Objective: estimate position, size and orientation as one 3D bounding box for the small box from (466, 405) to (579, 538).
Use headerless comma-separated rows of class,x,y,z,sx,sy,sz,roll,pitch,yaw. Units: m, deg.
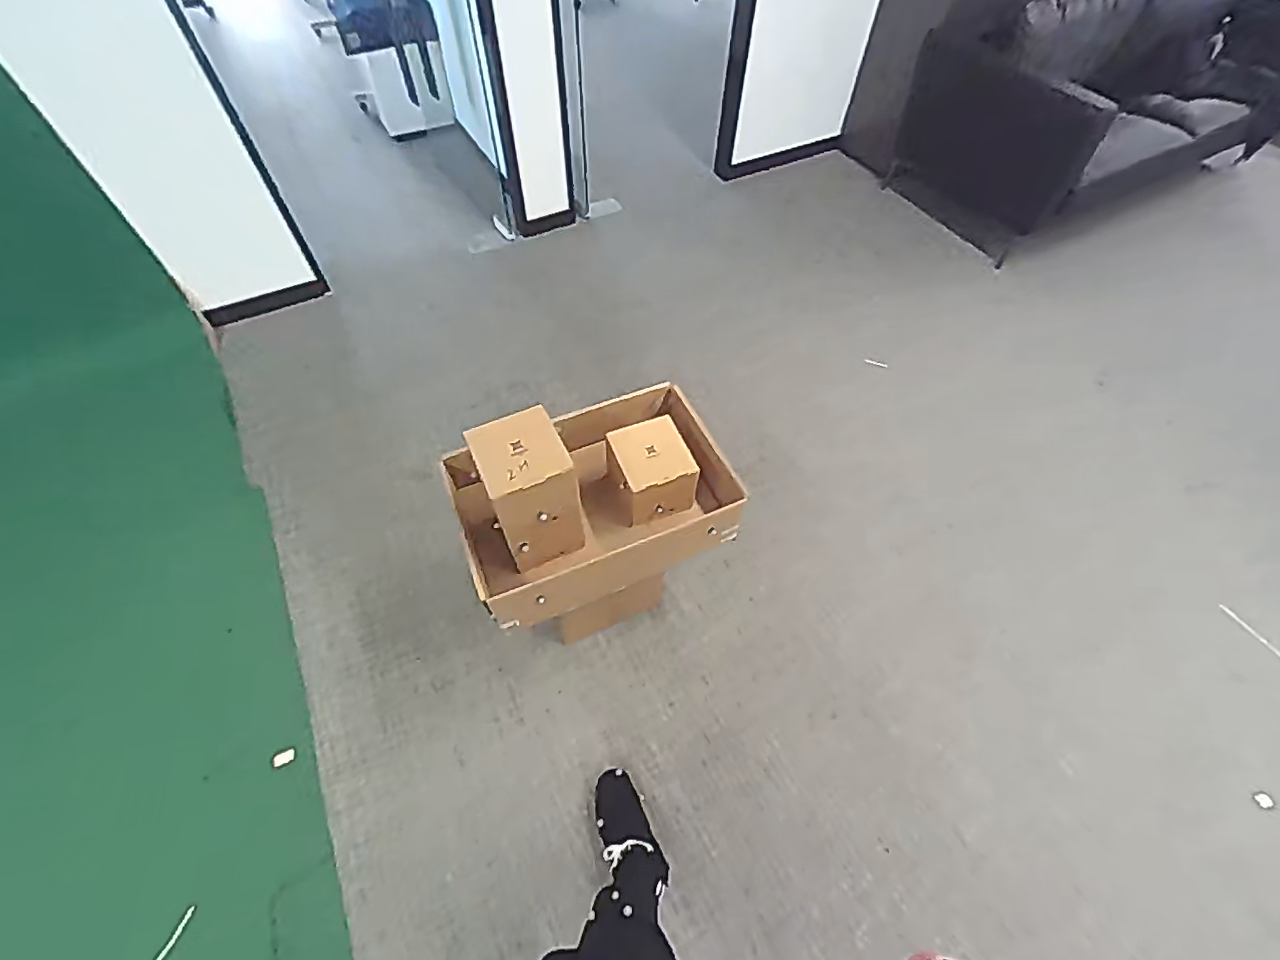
small box,-0.231,-0.015,1.088,0.168,0.176,0.179,-22,60,-15
